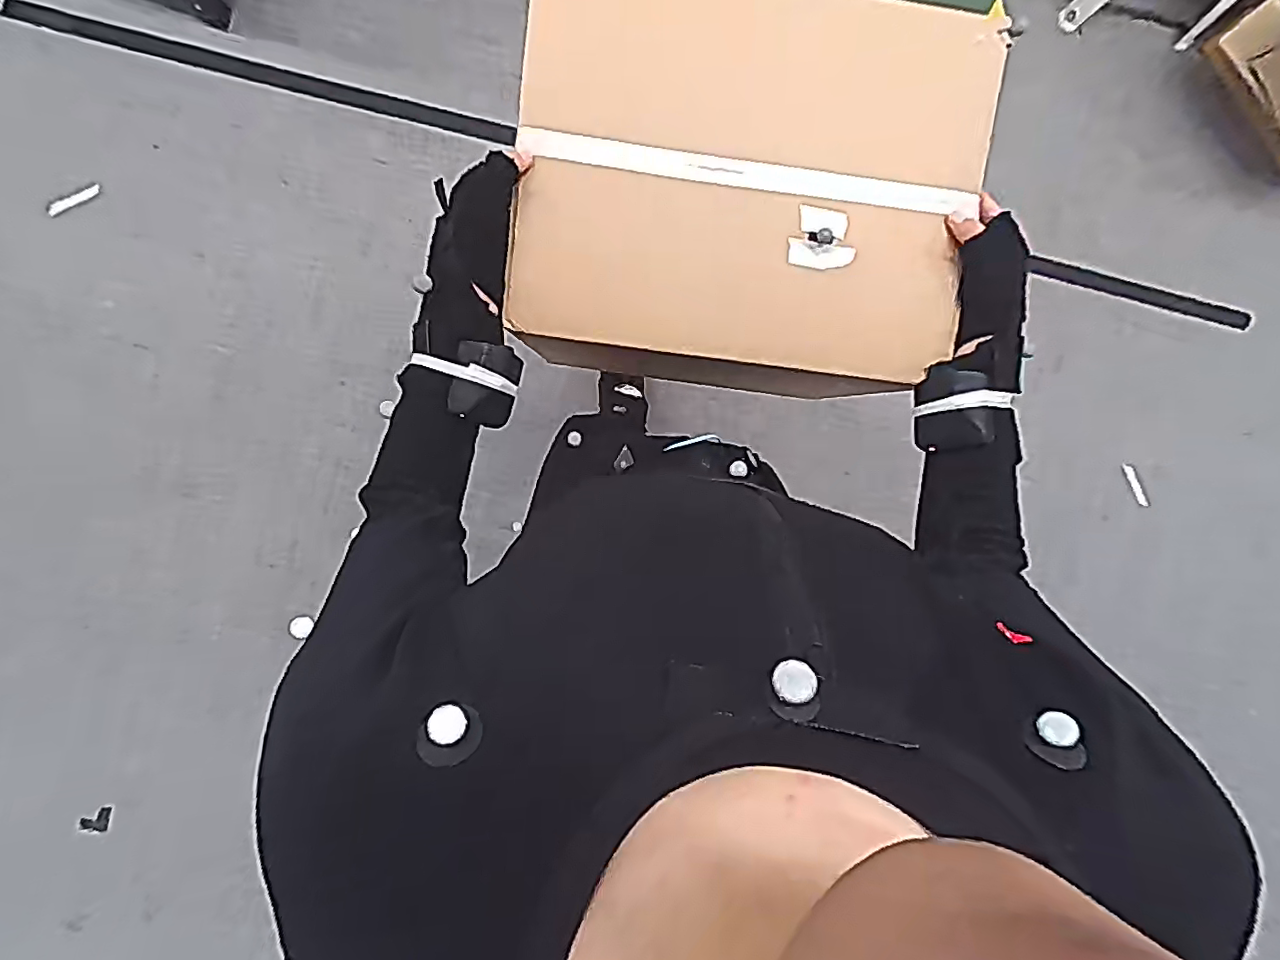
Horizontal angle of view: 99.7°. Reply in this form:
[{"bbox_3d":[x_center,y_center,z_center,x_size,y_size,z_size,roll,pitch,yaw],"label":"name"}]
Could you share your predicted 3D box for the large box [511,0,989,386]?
[{"bbox_3d":[0.086,-0.293,0.628,0.408,0.320,0.320,7,98,-4],"label":"large box"}]
